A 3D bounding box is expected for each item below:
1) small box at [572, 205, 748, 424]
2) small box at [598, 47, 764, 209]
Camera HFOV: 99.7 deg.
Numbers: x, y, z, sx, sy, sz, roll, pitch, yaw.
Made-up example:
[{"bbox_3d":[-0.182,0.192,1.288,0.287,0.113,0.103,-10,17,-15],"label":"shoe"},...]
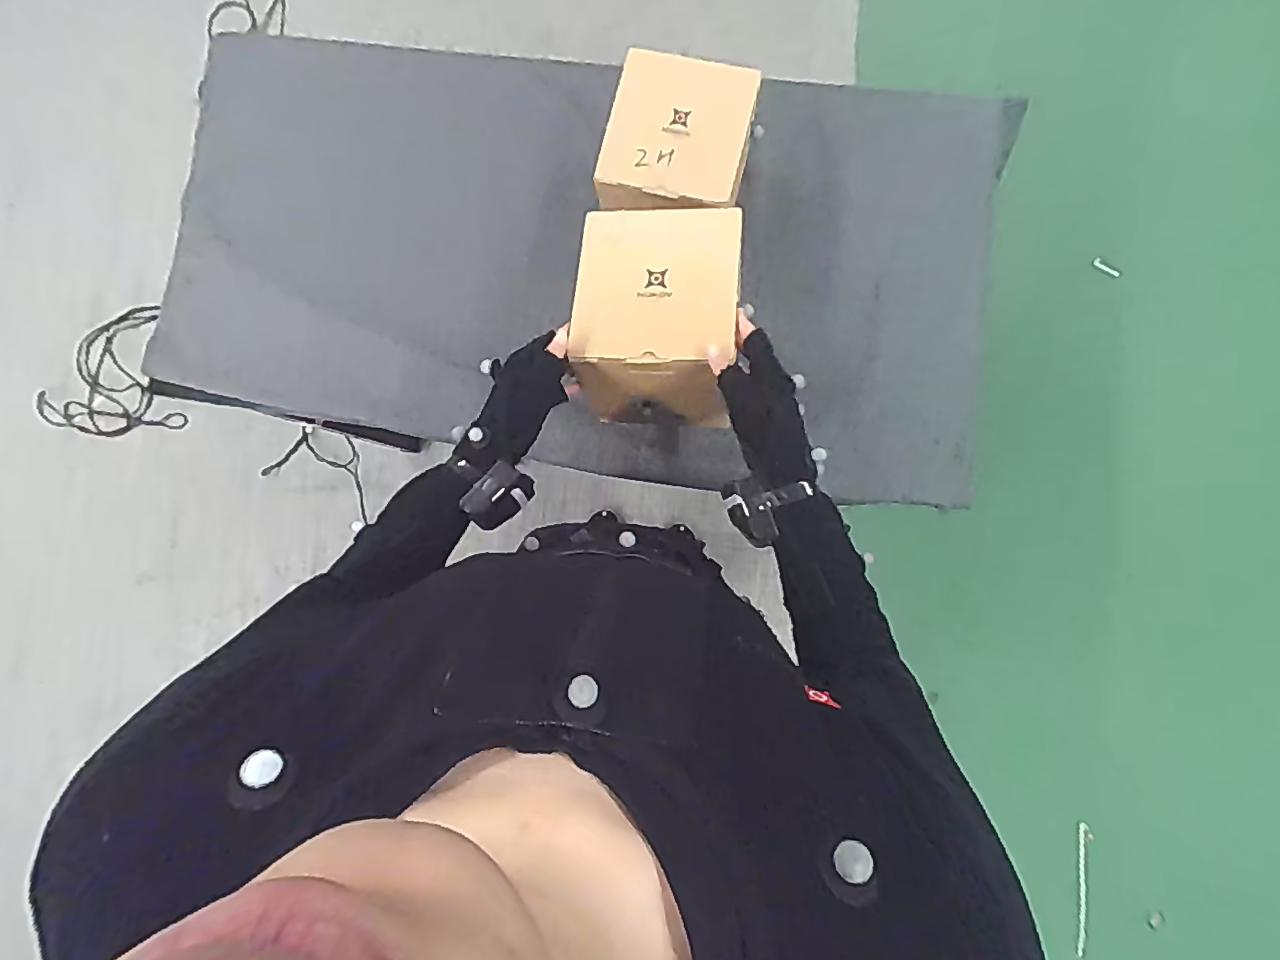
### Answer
[{"bbox_3d":[0.032,-0.177,0.611,0.168,0.176,0.179,2,76,10],"label":"small box"},{"bbox_3d":[0.053,-0.415,0.722,0.168,0.176,0.179,15,87,5],"label":"small box"}]
